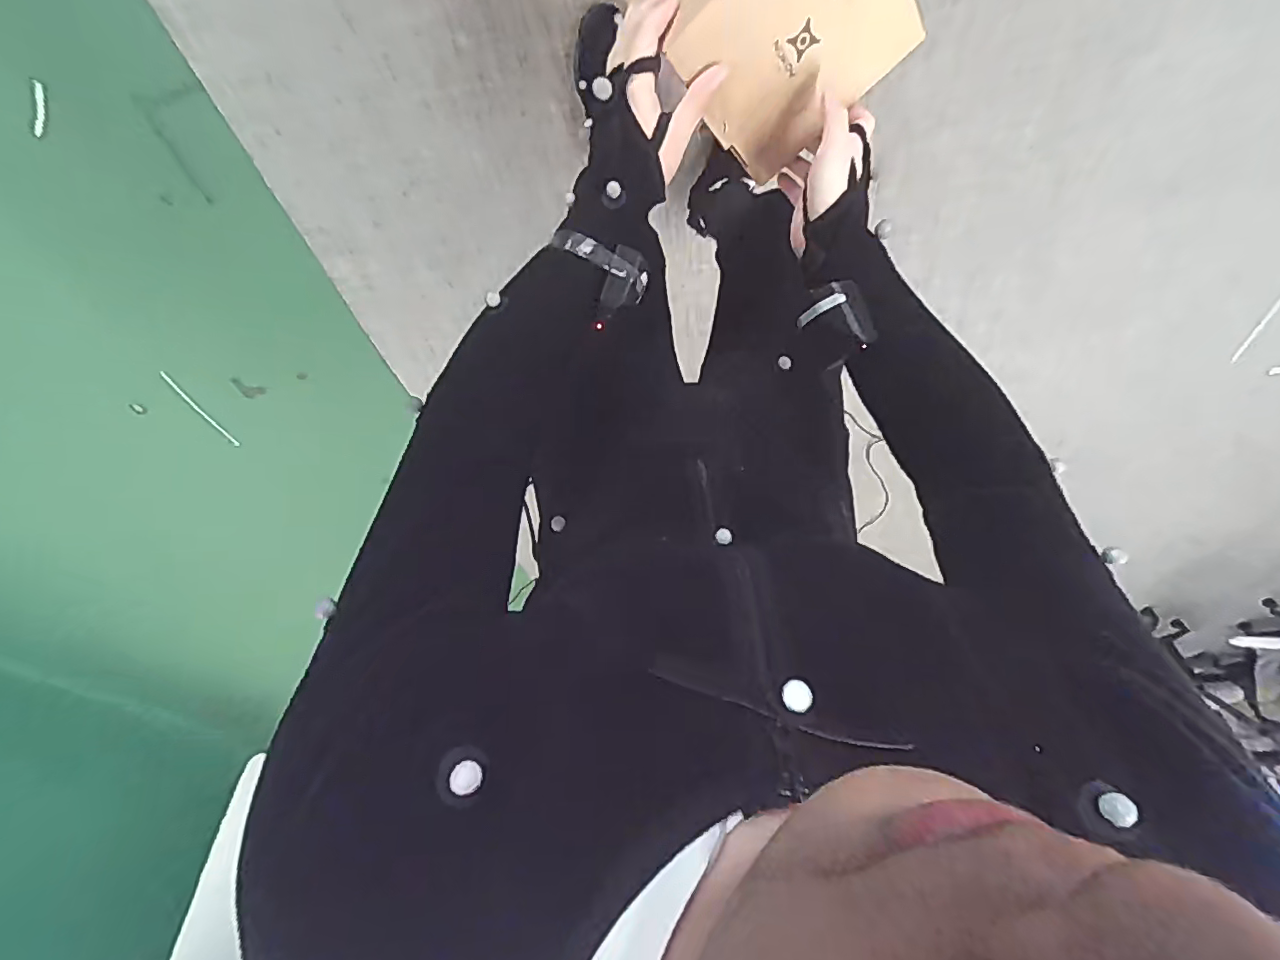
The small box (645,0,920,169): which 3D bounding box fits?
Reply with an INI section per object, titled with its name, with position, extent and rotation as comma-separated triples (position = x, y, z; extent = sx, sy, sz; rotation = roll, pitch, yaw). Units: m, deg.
[small box]
position = 0.116, -0.447, 0.498
extent = 0.179, 0.176, 0.168
rotation = -34, 145, 26
